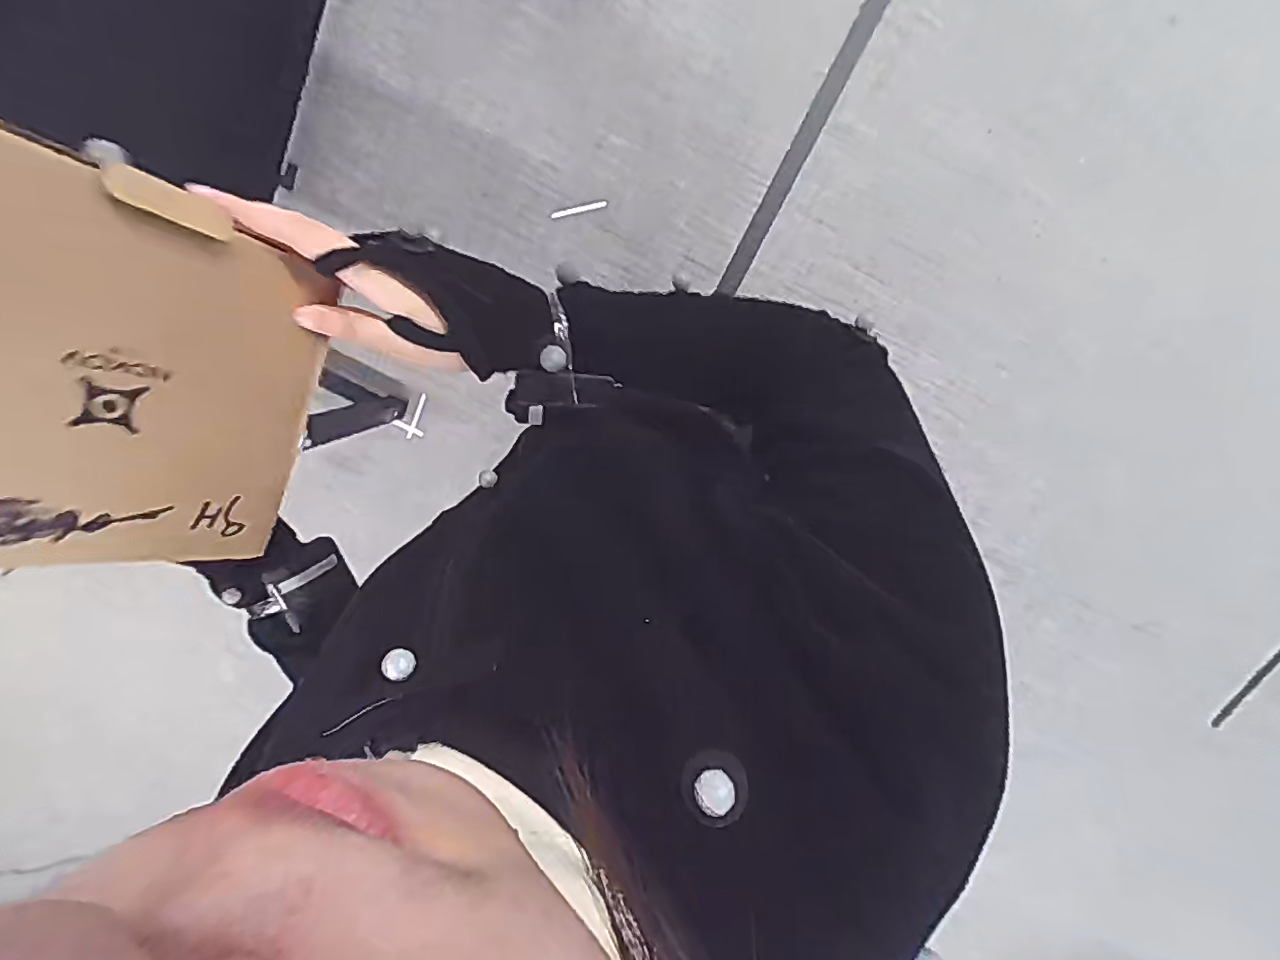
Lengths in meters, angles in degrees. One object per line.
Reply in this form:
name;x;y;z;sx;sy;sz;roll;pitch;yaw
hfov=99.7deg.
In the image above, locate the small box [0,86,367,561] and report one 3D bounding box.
small box;-0.286;-0.072;0.279;0.176;0.168;0.179;23;94;30
